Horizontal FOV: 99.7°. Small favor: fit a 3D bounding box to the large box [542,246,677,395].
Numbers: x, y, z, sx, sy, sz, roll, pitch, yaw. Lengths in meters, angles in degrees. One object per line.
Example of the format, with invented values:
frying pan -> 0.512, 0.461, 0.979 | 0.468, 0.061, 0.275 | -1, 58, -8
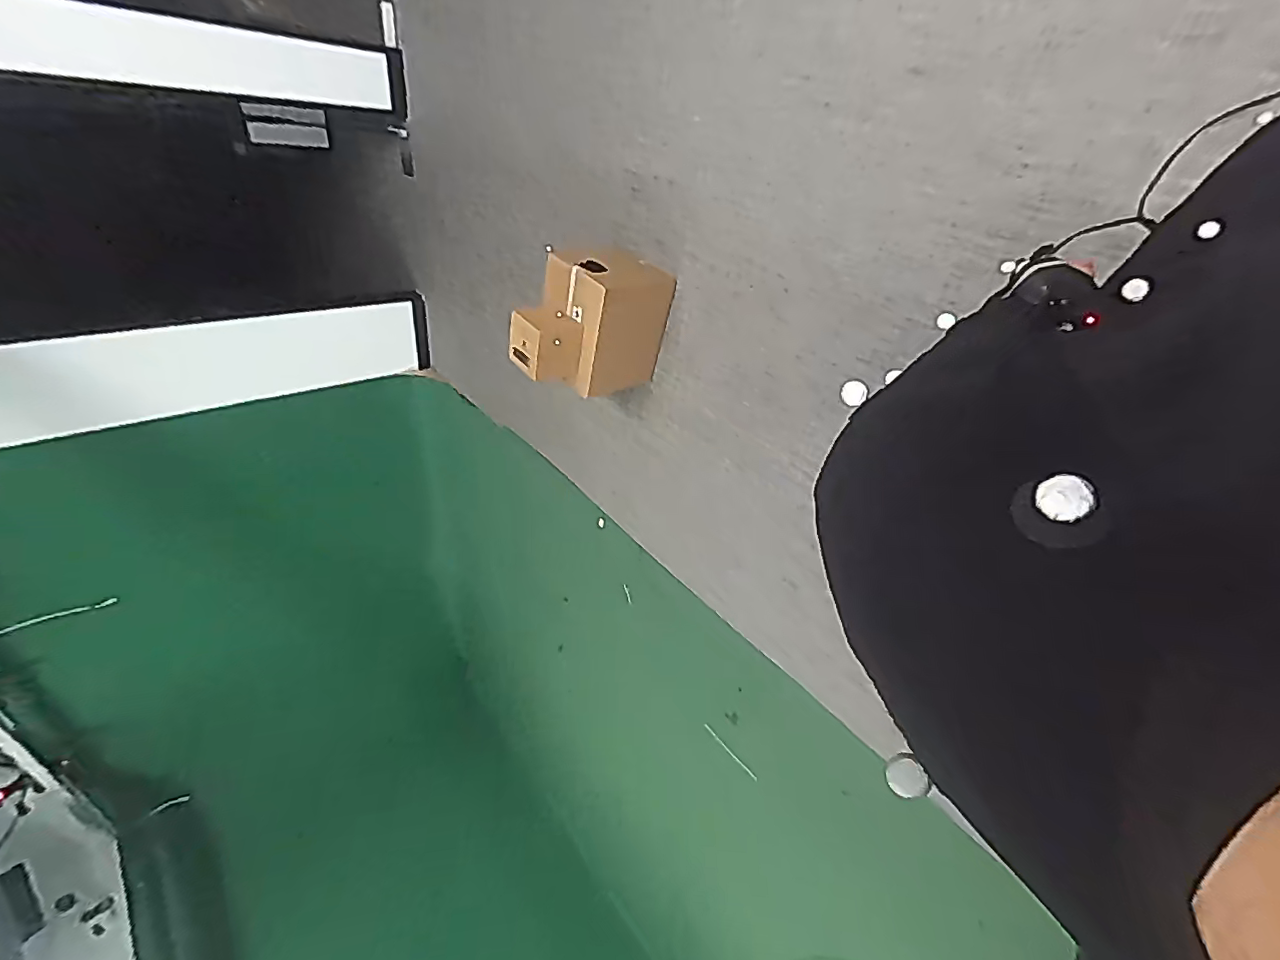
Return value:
large box -> -0.118, -0.567, 1.903 | 0.320, 0.320, 0.408 | 41, 135, 29
